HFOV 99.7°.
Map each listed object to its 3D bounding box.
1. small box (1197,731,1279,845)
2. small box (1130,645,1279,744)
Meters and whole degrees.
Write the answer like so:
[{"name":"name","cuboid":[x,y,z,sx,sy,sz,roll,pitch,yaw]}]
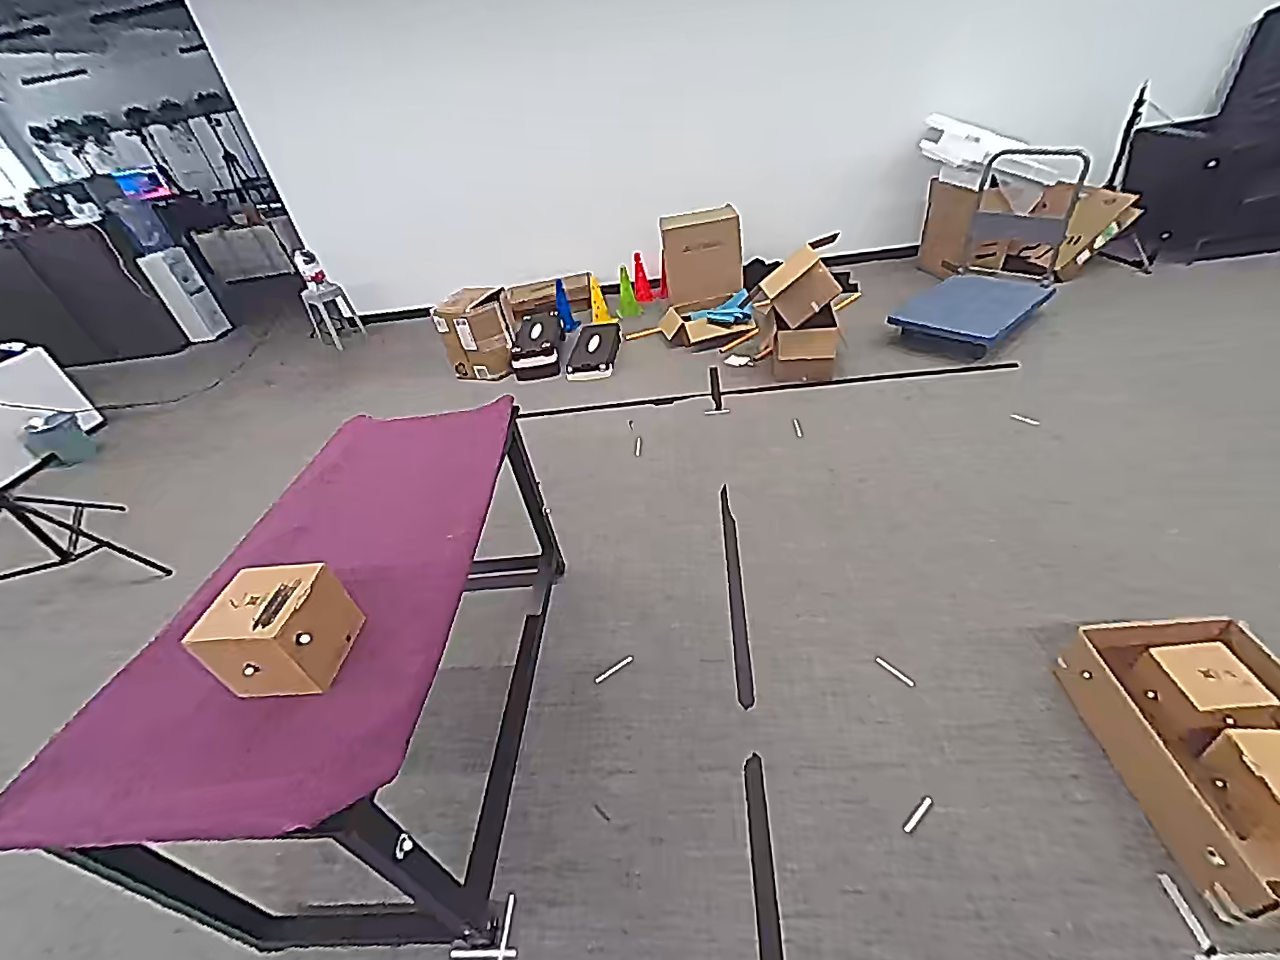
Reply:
[{"name":"small box","cuboid":[1.382,0.664,1.161,0.179,0.176,0.168,-2,37,11]},{"name":"small box","cuboid":[1.368,0.531,1.333,0.179,0.176,0.168,-7,39,5]}]
